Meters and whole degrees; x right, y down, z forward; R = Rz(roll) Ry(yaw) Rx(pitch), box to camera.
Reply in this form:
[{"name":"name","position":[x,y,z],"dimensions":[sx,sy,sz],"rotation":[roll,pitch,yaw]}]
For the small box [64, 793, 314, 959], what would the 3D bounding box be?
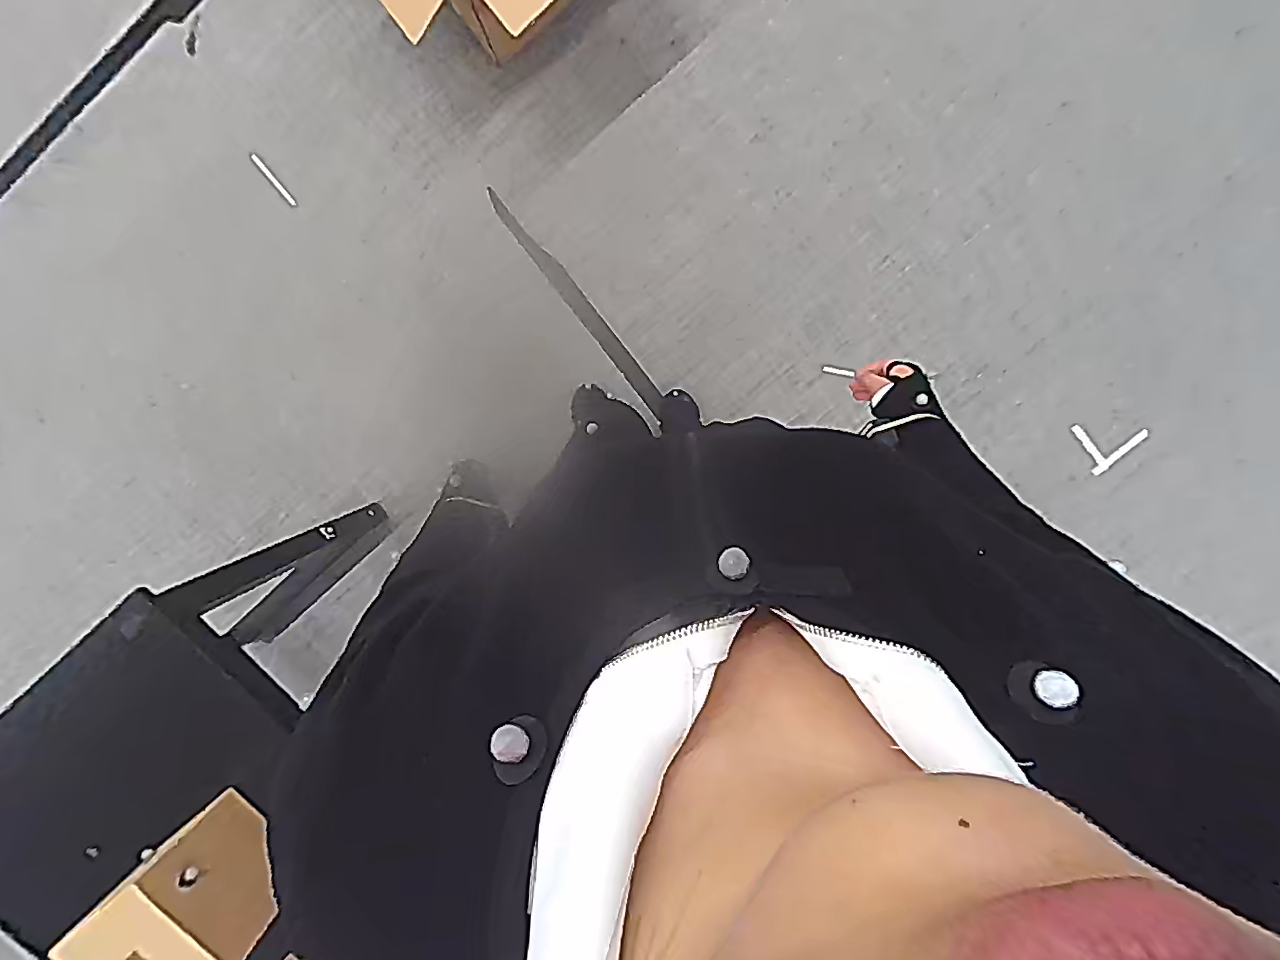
[{"name":"small box","position":[-0.627,0.592,0.776],"dimensions":[0.168,0.176,0.179],"rotation":[-41,96,8]}]
